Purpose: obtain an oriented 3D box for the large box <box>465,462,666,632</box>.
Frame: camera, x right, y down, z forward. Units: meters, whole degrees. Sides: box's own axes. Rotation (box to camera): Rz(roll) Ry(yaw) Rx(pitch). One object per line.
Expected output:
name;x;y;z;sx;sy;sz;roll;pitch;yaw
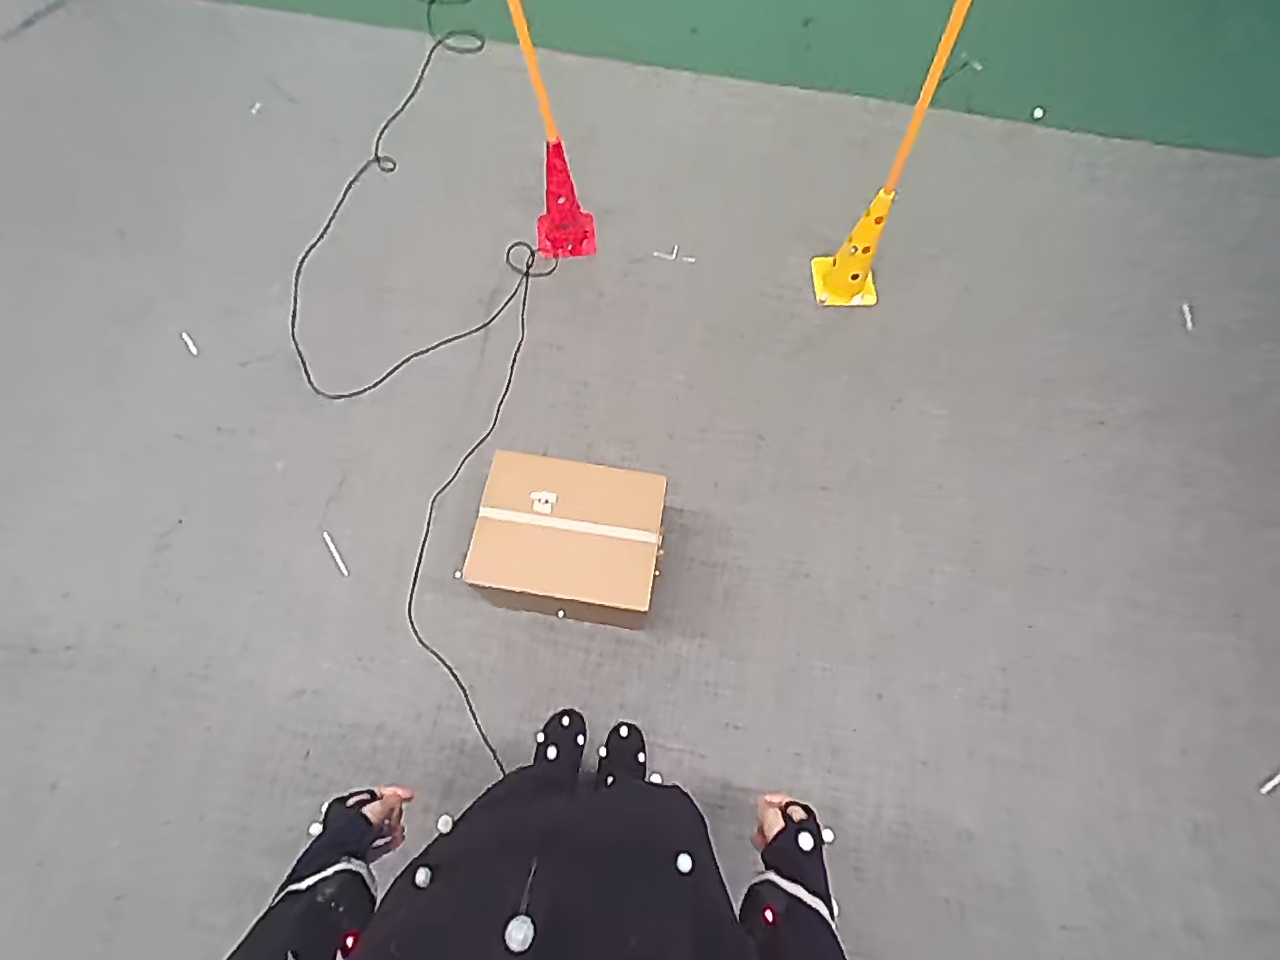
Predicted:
large box;-0.156;0.178;1.331;0.408;0.320;0.320;8;66;3
